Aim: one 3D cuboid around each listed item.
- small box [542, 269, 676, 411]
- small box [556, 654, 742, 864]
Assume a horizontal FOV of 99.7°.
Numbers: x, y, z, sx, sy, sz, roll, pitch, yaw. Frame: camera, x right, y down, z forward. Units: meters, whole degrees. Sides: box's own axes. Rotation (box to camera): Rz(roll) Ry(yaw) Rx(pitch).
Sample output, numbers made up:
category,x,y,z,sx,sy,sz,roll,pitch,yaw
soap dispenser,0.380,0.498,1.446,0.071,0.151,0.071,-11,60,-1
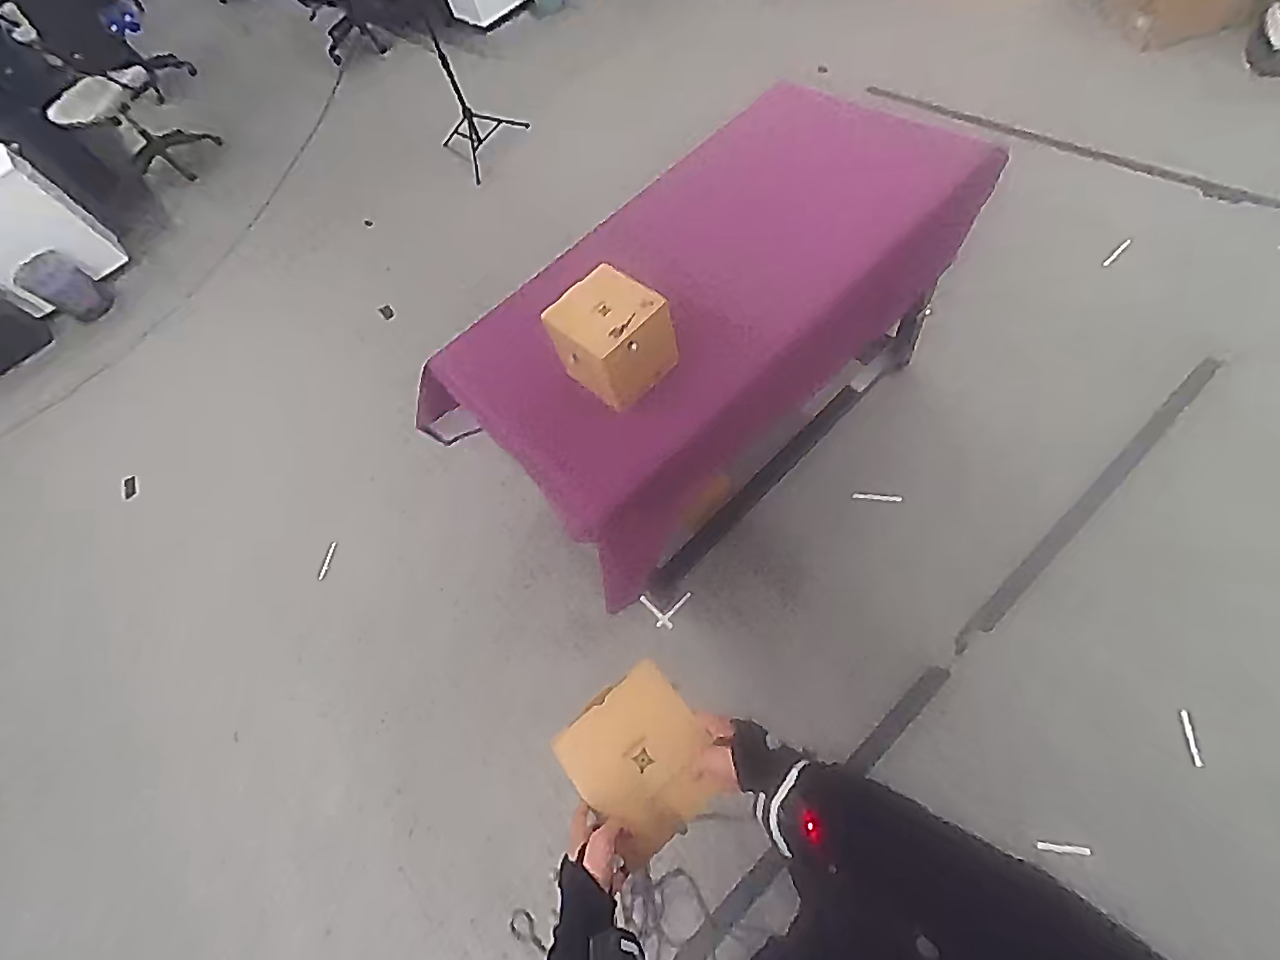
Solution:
category,x,y,z,sx,sy,sz,roll,pitch,yaw
small box,-0.052,-0.263,1.041,0.168,0.176,0.179,-45,62,-12
small box,0.013,0.369,0.732,0.168,0.176,0.179,-36,66,-12
